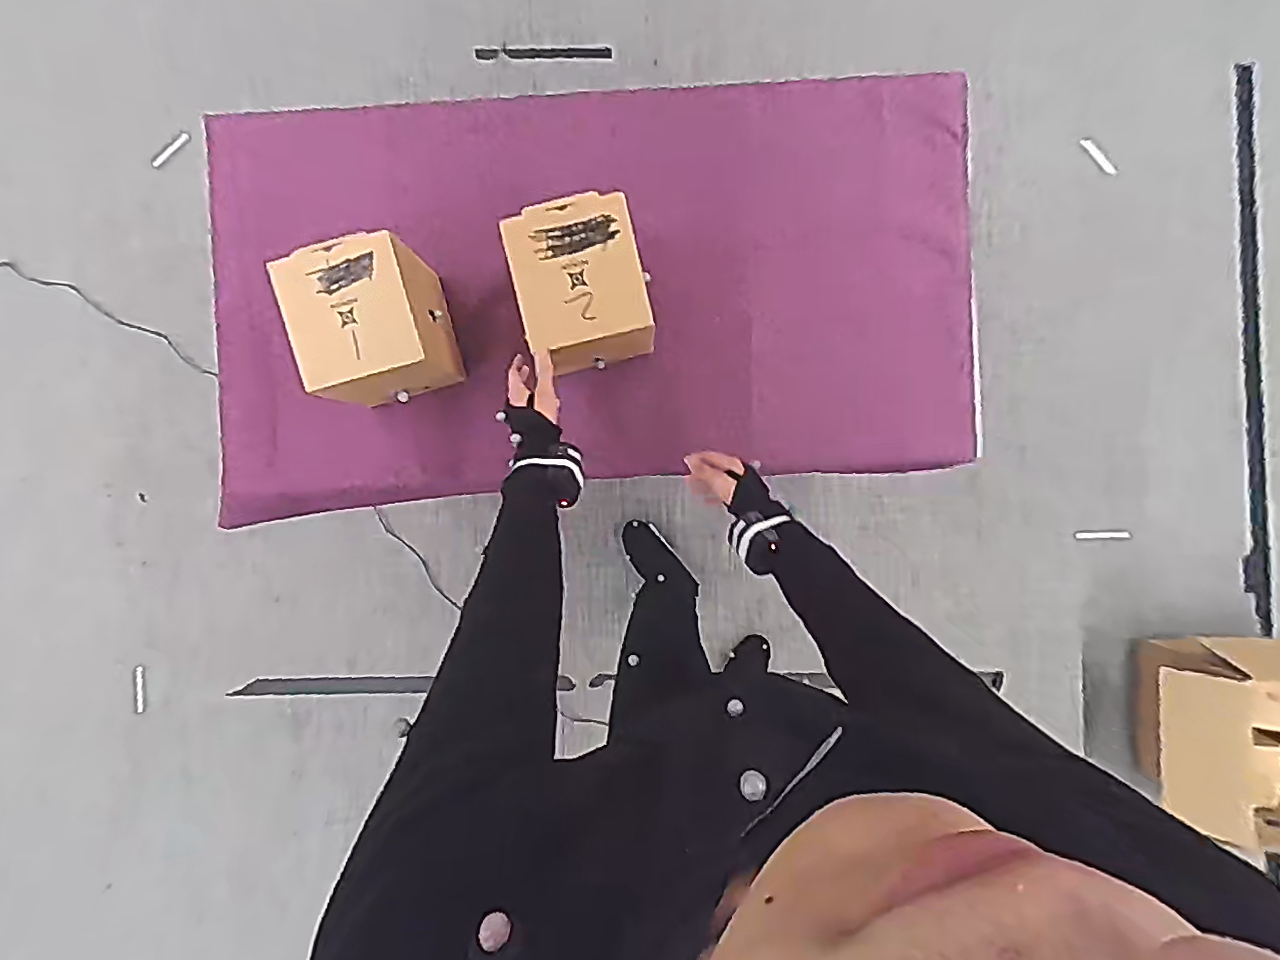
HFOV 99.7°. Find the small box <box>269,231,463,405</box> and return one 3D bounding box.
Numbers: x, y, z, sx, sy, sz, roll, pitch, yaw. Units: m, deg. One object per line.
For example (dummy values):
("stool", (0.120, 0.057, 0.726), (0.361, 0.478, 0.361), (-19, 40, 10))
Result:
("small box", (-0.376, -0.218, 0.773), (0.168, 0.176, 0.179), (-16, 92, 2))
